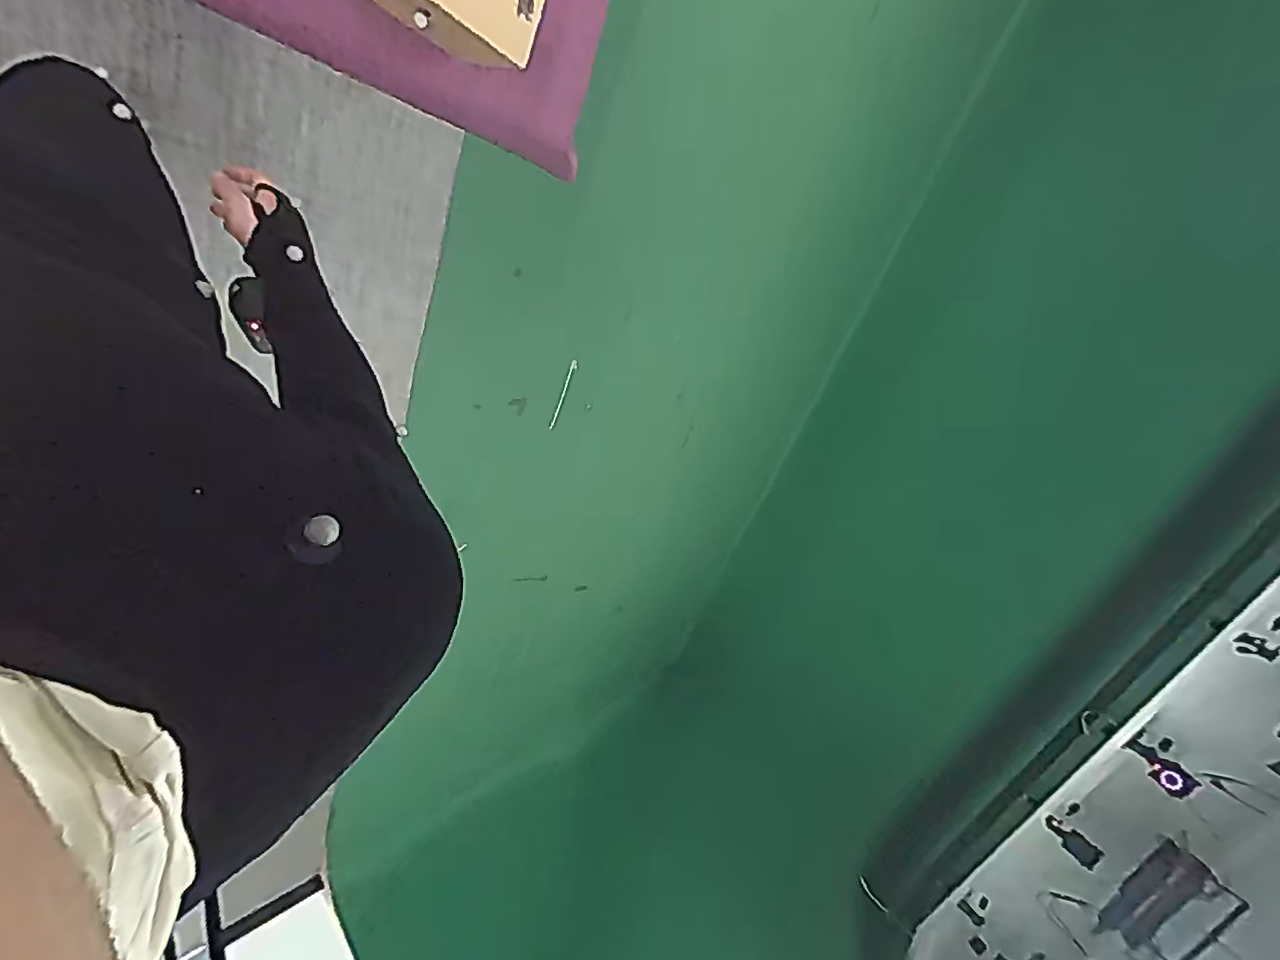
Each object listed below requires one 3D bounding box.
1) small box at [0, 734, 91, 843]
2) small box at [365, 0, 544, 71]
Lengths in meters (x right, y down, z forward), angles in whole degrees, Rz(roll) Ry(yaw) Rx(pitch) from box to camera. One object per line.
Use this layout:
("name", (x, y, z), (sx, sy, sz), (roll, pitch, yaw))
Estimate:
("small box", (-1.694, 0.866, 1.534), (0.179, 0.176, 0.168), (-6, 126, -50))
("small box", (-0.222, -0.611, 0.619), (0.179, 0.176, 0.168), (1, 119, -51))
